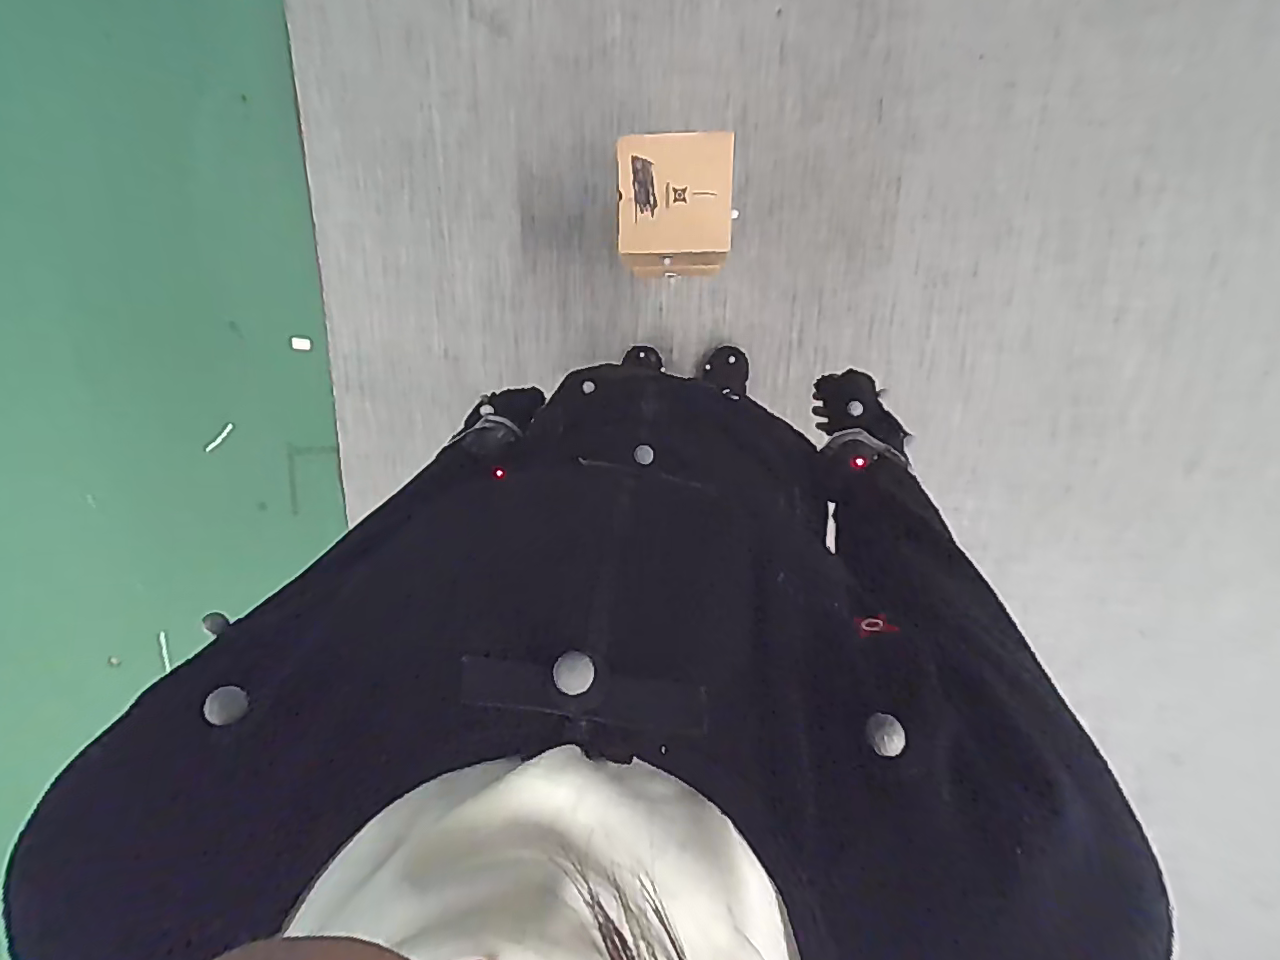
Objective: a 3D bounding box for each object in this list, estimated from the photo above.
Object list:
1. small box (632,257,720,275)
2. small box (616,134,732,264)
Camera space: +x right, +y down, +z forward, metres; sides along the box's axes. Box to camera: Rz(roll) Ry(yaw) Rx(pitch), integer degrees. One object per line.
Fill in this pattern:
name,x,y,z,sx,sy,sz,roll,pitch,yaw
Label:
small box,0.072,-0.500,1.050,0.168,0.176,0.179,1,107,6
small box,0.058,-0.460,0.908,0.179,0.176,0.168,2,106,5
